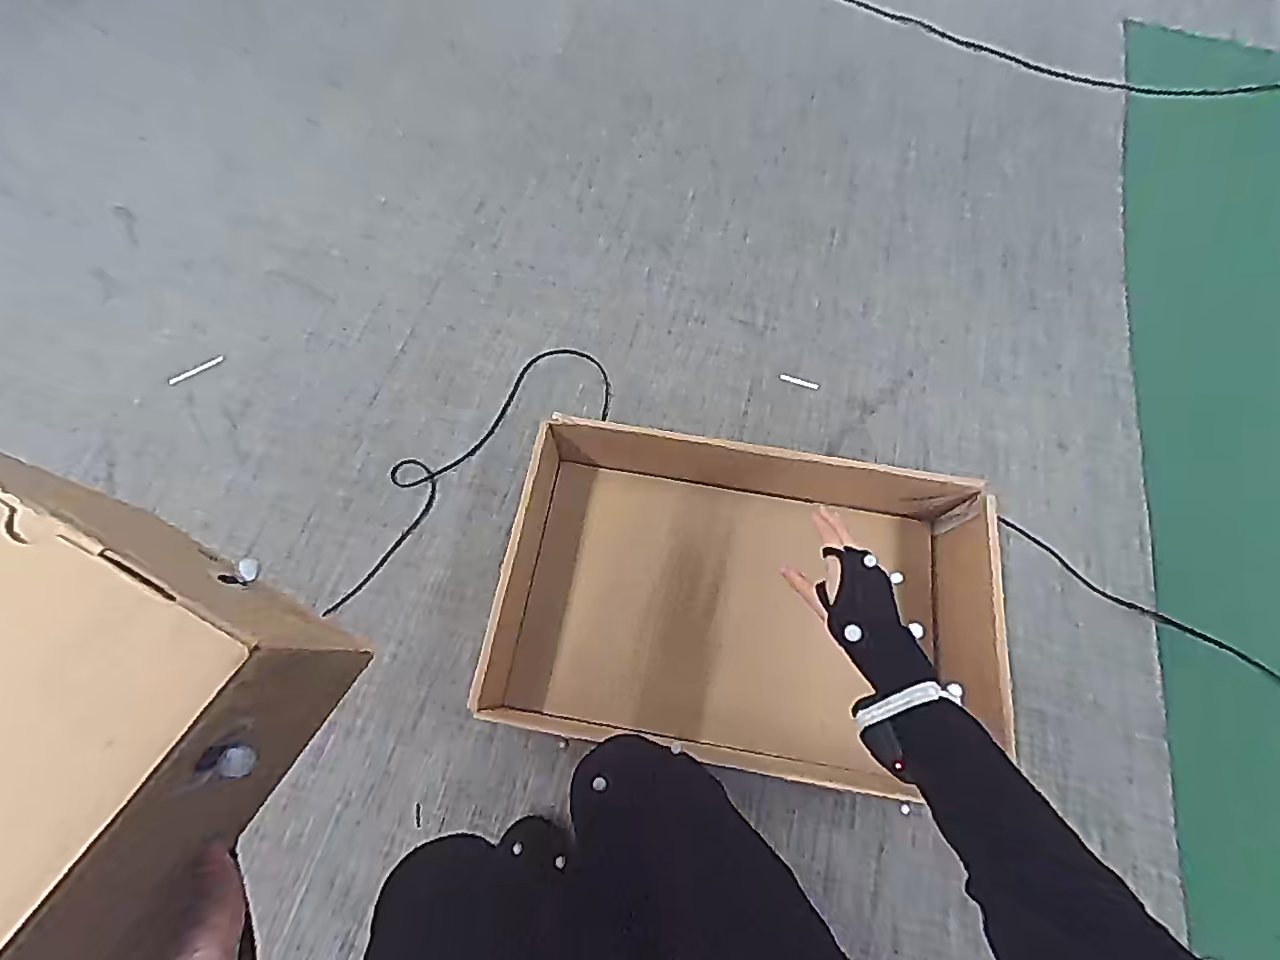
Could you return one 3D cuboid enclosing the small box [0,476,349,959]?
[{"bbox_3d":[-0.258,0.115,0.223,0.168,0.176,0.179,32,66,-1],"label":"small box"}]
